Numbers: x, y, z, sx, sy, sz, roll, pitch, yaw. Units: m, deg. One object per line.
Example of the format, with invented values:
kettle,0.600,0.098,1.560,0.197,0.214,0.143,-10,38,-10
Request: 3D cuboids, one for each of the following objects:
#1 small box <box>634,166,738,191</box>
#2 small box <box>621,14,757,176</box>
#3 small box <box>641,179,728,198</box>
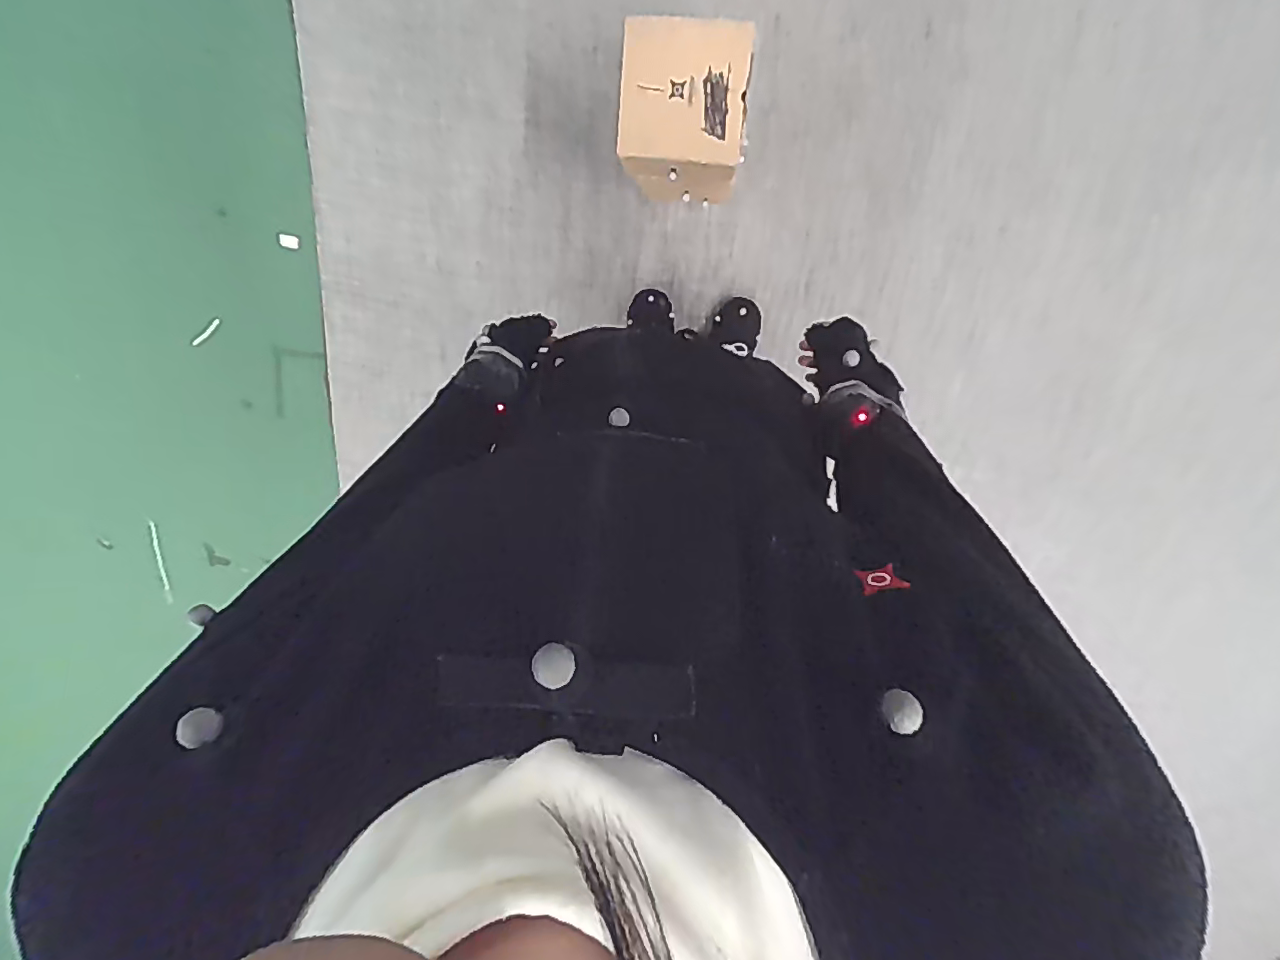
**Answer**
small box,0.091,-0.622,0.964,0.179,0.176,0.168,7,112,4
small box,0.070,-0.563,0.812,0.179,0.176,0.168,4,112,4
small box,0.105,-0.687,1.114,0.179,0.176,0.168,8,112,6
